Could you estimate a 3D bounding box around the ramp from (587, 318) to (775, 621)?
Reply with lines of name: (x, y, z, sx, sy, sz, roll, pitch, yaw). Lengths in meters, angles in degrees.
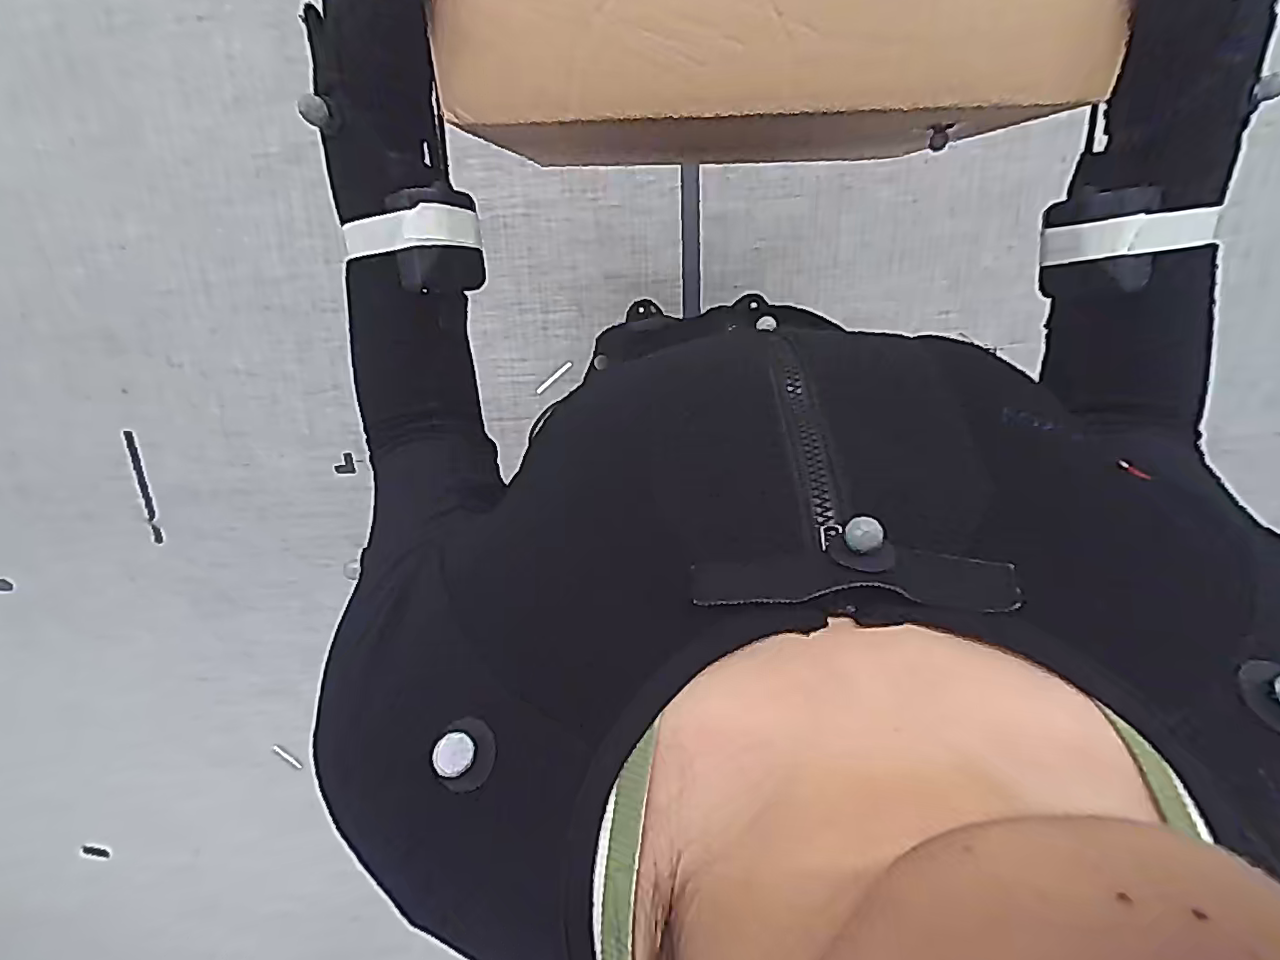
ramp: (0.135, 0.034, 1.624, 0.509, 0.206, 0.991, -4, 108, 3)

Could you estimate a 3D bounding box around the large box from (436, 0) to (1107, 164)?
large box: (0.077, -0.433, 0.410, 0.408, 0.320, 0.320, -1, 115, 1)
